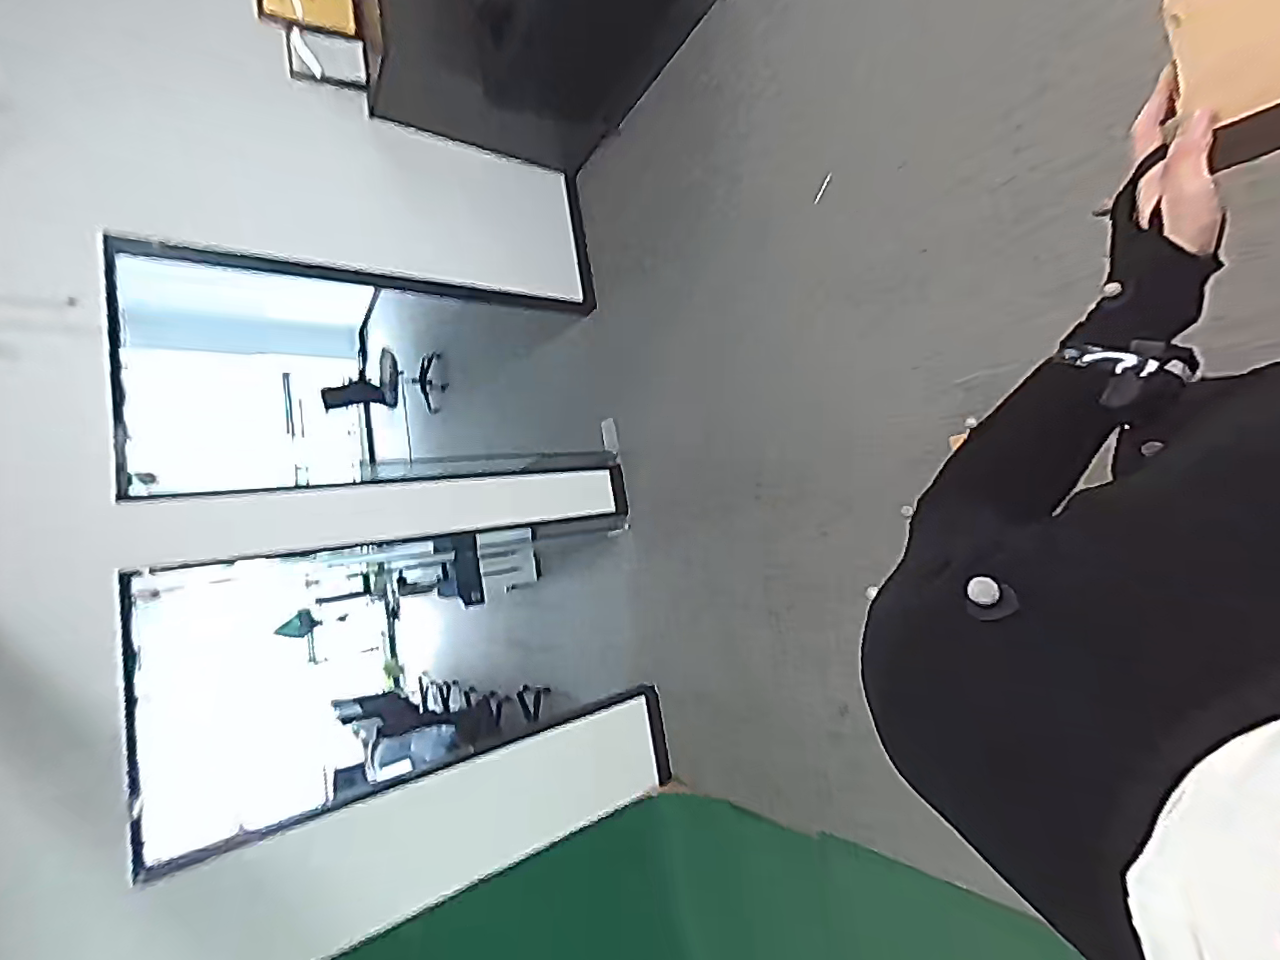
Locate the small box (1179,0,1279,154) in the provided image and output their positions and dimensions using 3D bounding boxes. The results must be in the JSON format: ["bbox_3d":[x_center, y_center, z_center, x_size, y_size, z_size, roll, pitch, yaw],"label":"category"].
[{"bbox_3d":[0.506,-0.358,0.371,0.179,0.176,0.168,-6,96,52],"label":"small box"}]
